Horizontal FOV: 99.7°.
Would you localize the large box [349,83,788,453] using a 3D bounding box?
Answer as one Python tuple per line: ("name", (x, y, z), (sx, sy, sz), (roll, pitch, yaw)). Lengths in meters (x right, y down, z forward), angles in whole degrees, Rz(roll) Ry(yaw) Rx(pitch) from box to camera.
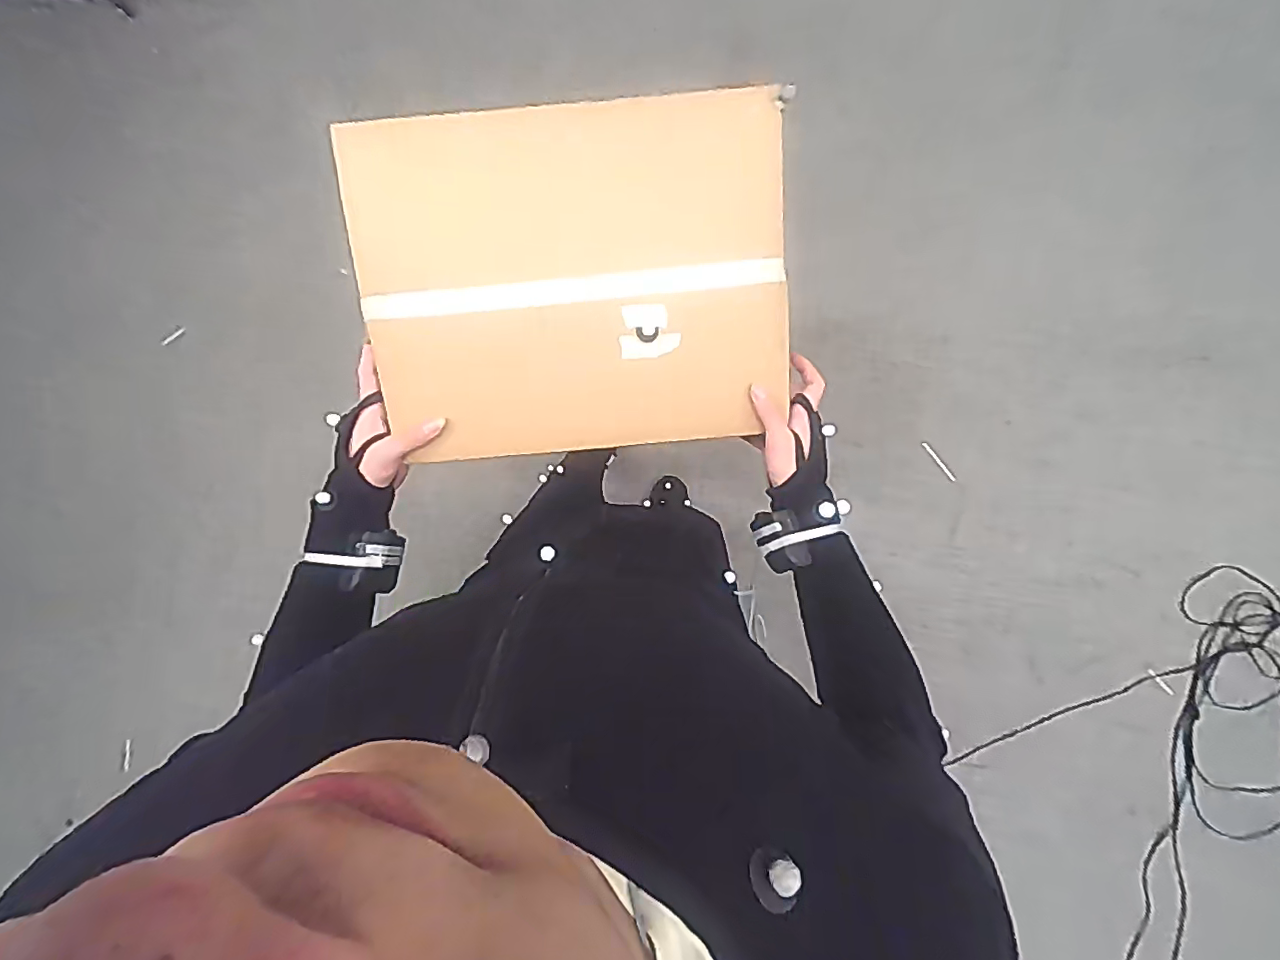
("large box", (-0.062, -0.229, 0.671), (0.408, 0.320, 0.320), (-5, 104, 0))
